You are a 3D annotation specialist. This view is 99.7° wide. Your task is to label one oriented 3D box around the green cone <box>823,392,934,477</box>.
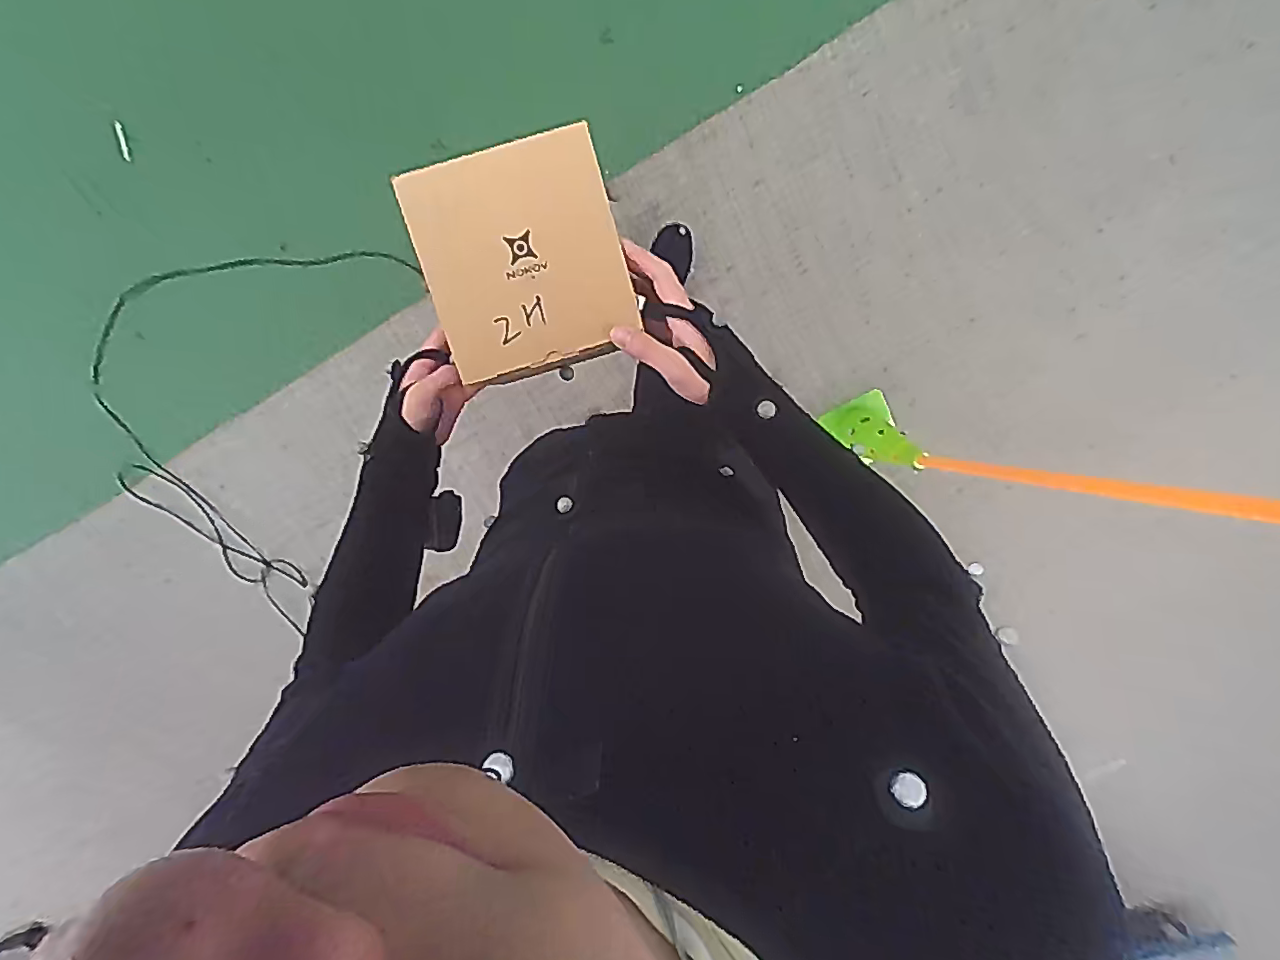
[{"bbox_3d":[0.652,-0.085,1.396,0.202,0.368,0.200,-28,103,7],"label":"green cone"}]
